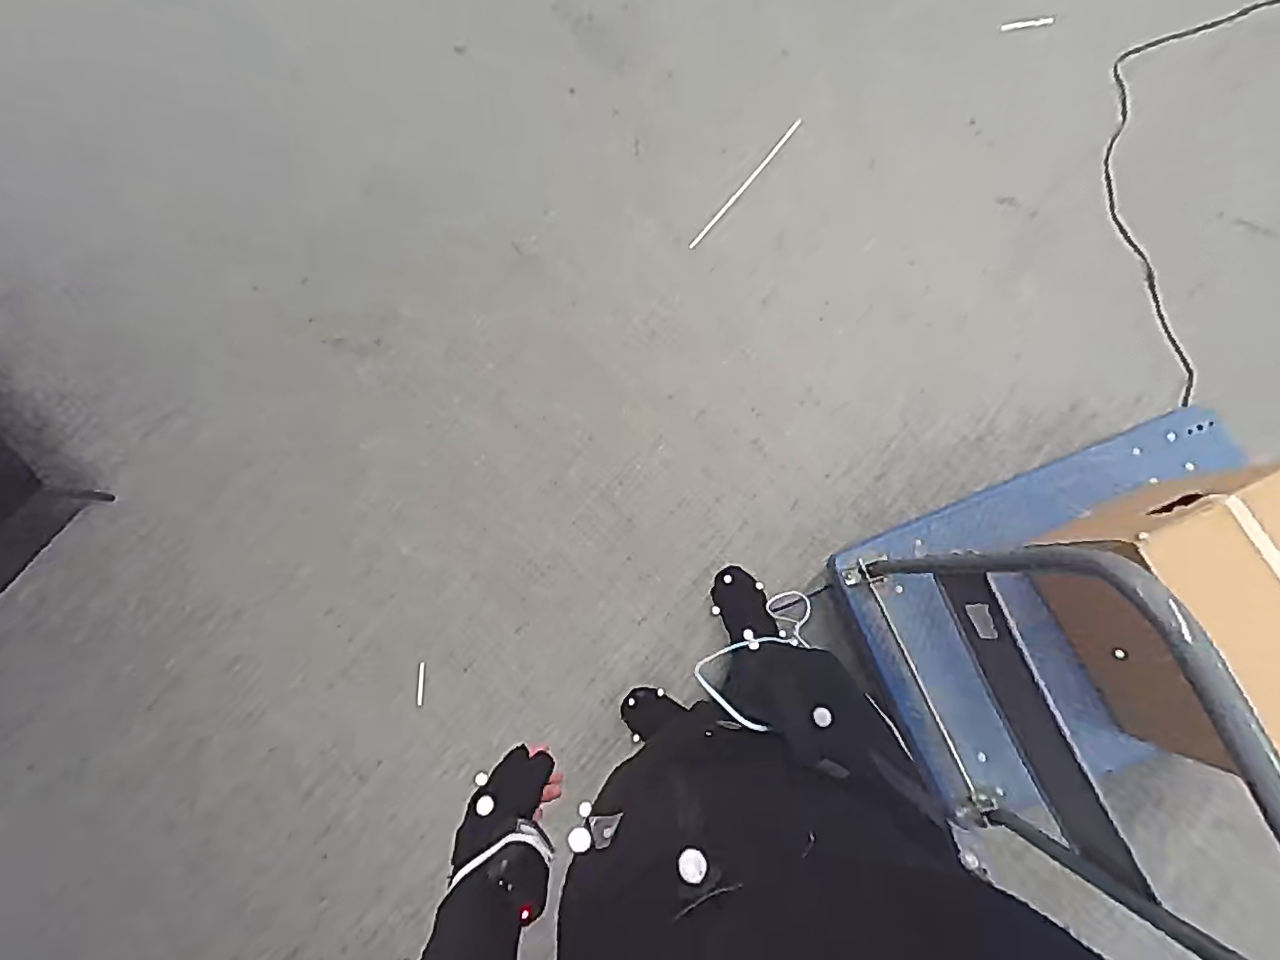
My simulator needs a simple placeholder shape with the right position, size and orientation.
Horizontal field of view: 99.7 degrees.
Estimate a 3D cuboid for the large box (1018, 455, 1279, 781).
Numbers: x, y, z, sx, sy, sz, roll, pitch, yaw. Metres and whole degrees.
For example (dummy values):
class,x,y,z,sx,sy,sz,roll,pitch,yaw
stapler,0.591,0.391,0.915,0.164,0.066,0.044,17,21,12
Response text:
class,x,y,z,sx,sy,sz,roll,pitch,yaw
large box,0.984,0.220,0.936,0.320,0.320,0.408,-27,79,-1
